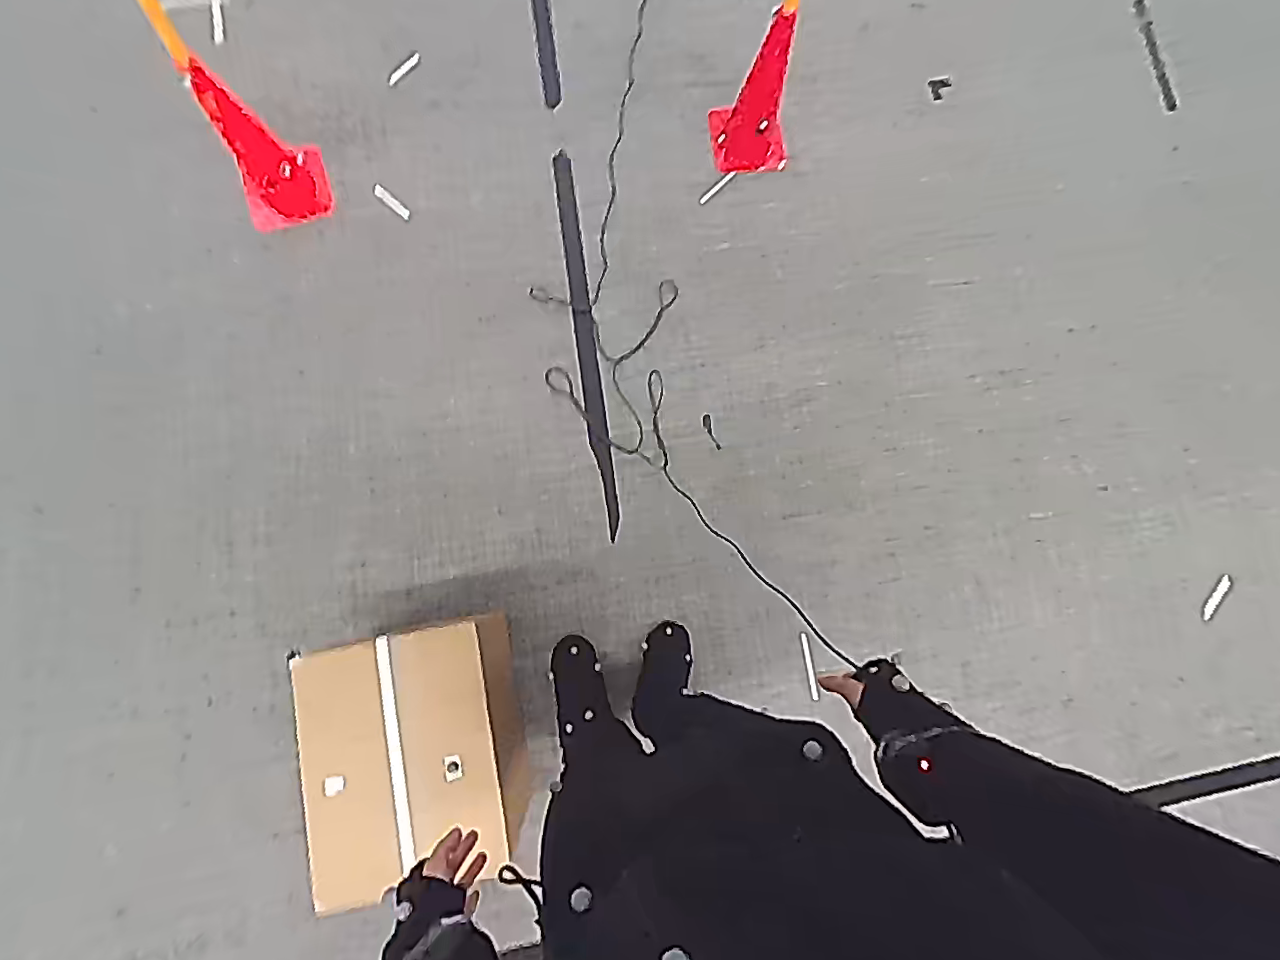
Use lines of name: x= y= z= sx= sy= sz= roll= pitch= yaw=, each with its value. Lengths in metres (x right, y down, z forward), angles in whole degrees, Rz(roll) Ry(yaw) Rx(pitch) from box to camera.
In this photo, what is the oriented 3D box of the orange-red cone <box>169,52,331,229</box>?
orange-red cone: x=-0.883 y=-0.763 z=1.194 sx=0.199 sy=0.360 sz=0.198 roll=-17 pitch=81 yaw=-6
